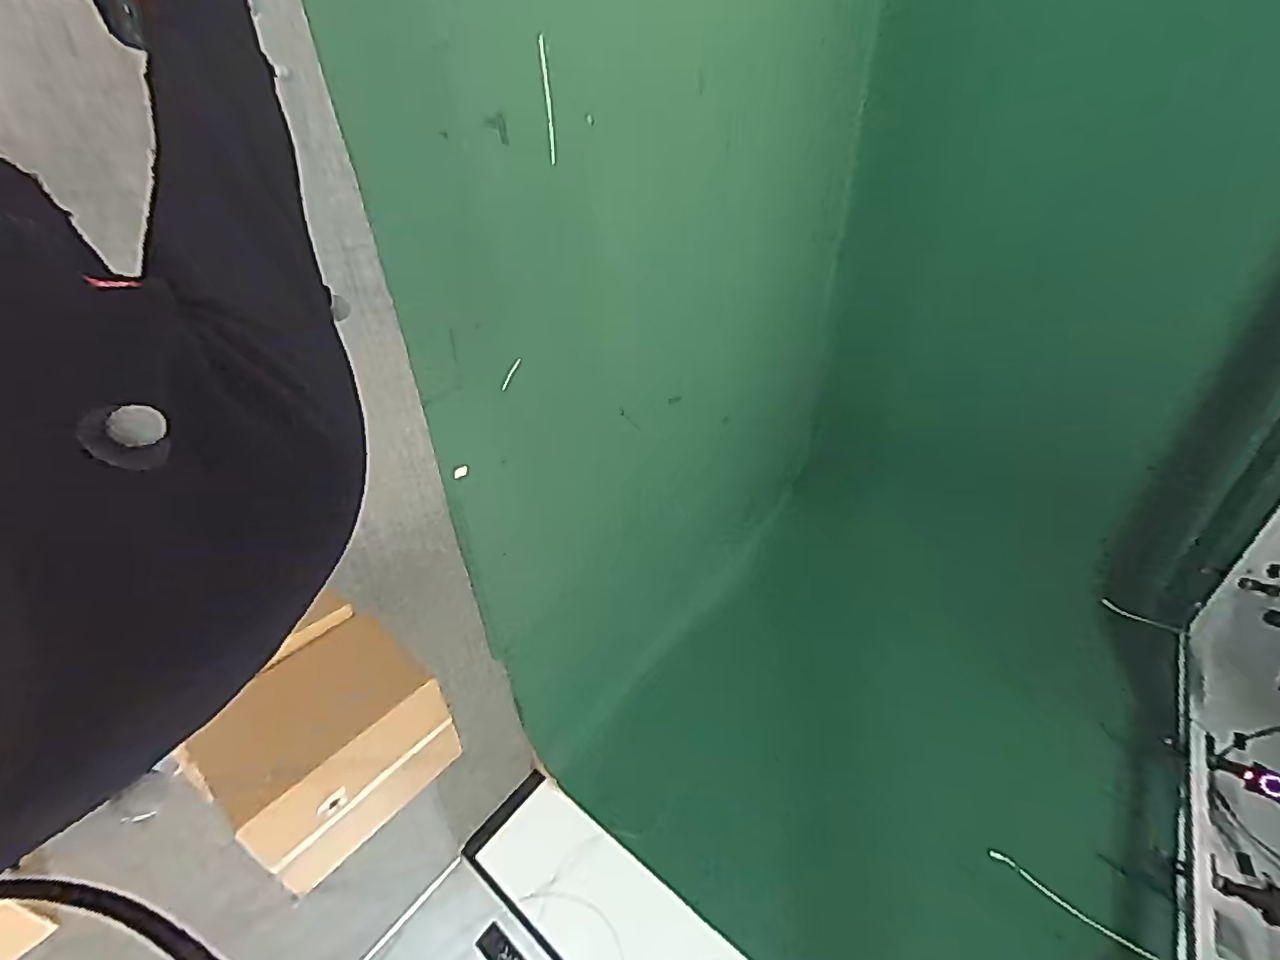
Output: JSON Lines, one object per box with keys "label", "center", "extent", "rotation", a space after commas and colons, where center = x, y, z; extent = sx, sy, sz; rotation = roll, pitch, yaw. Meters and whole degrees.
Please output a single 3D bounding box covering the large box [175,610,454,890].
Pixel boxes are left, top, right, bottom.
{"label": "large box", "center": [-0.702, 0.579, 1.222], "extent": [0.408, 0.320, 0.320], "rotation": [-35, 138, -39]}
